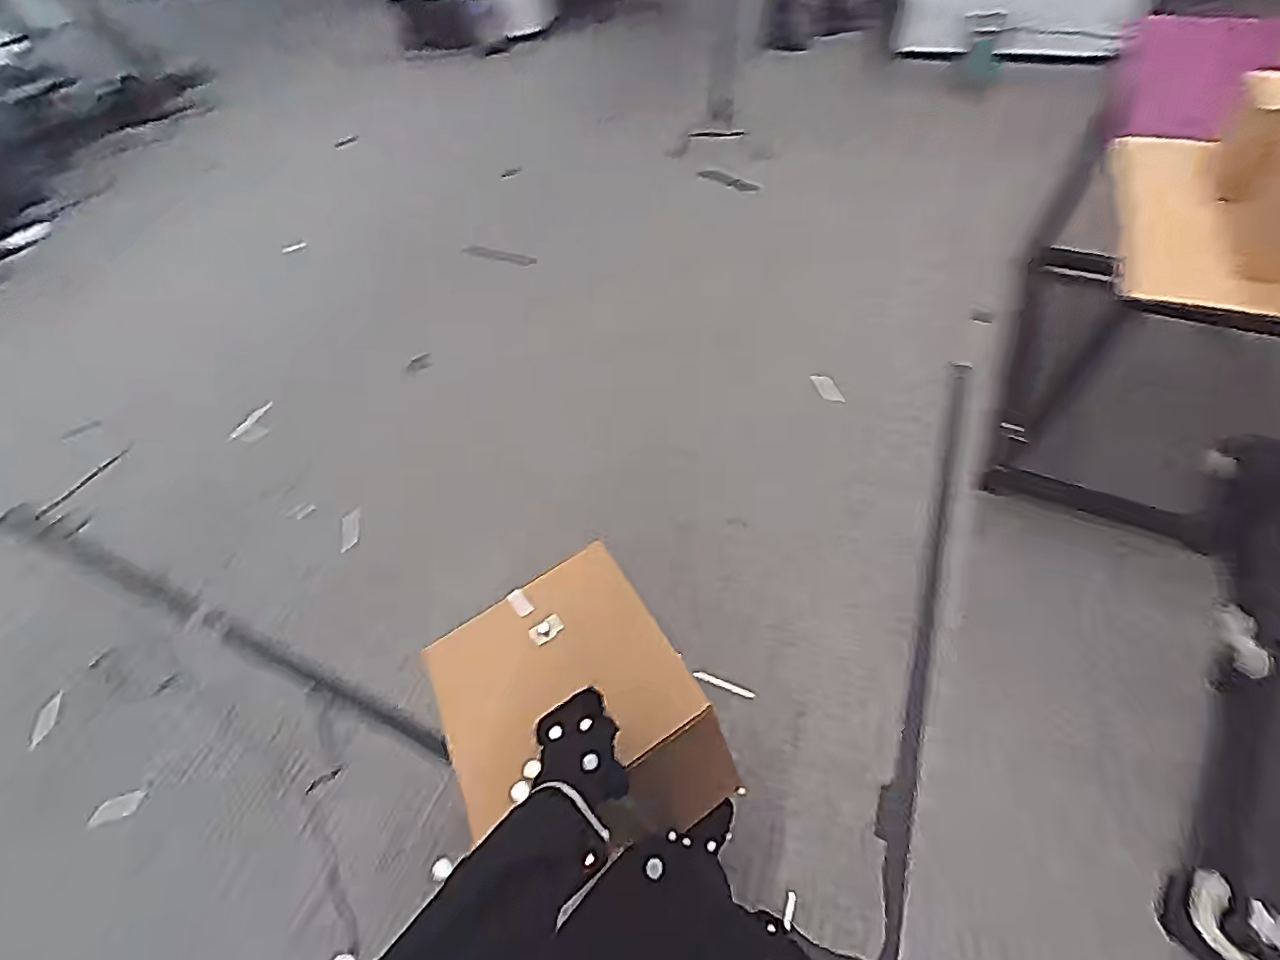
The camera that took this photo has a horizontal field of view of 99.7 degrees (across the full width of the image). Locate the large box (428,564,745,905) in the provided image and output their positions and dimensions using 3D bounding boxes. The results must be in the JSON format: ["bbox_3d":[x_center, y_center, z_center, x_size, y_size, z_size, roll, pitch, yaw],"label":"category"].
[{"bbox_3d":[-0.067,0.410,0.866,0.320,0.408,0.320,-32,48,-10],"label":"large box"}]
